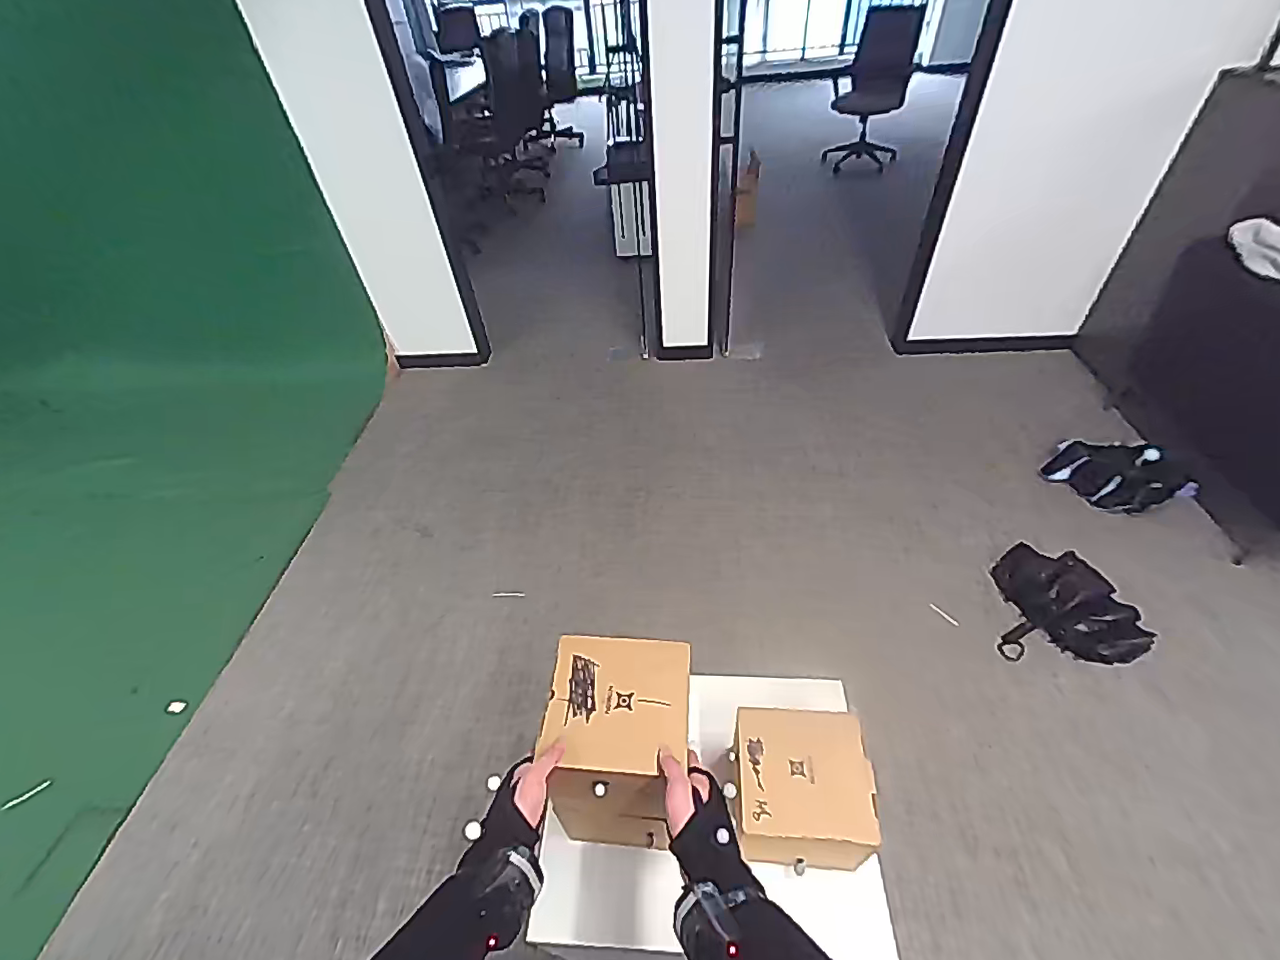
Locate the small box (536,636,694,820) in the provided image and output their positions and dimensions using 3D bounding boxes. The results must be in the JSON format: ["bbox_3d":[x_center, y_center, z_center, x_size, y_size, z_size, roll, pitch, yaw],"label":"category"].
[{"bbox_3d":[-0.022,0.325,0.707,0.179,0.176,0.168,3,45,4],"label":"small box"}]

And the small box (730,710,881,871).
[{"bbox_3d":[0.227,0.457,0.793,0.179,0.176,0.168,1,46,6],"label":"small box"}]

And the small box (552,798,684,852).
[{"bbox_3d":[-0.021,0.445,0.820,0.179,0.176,0.168,1,44,5],"label":"small box"}]
